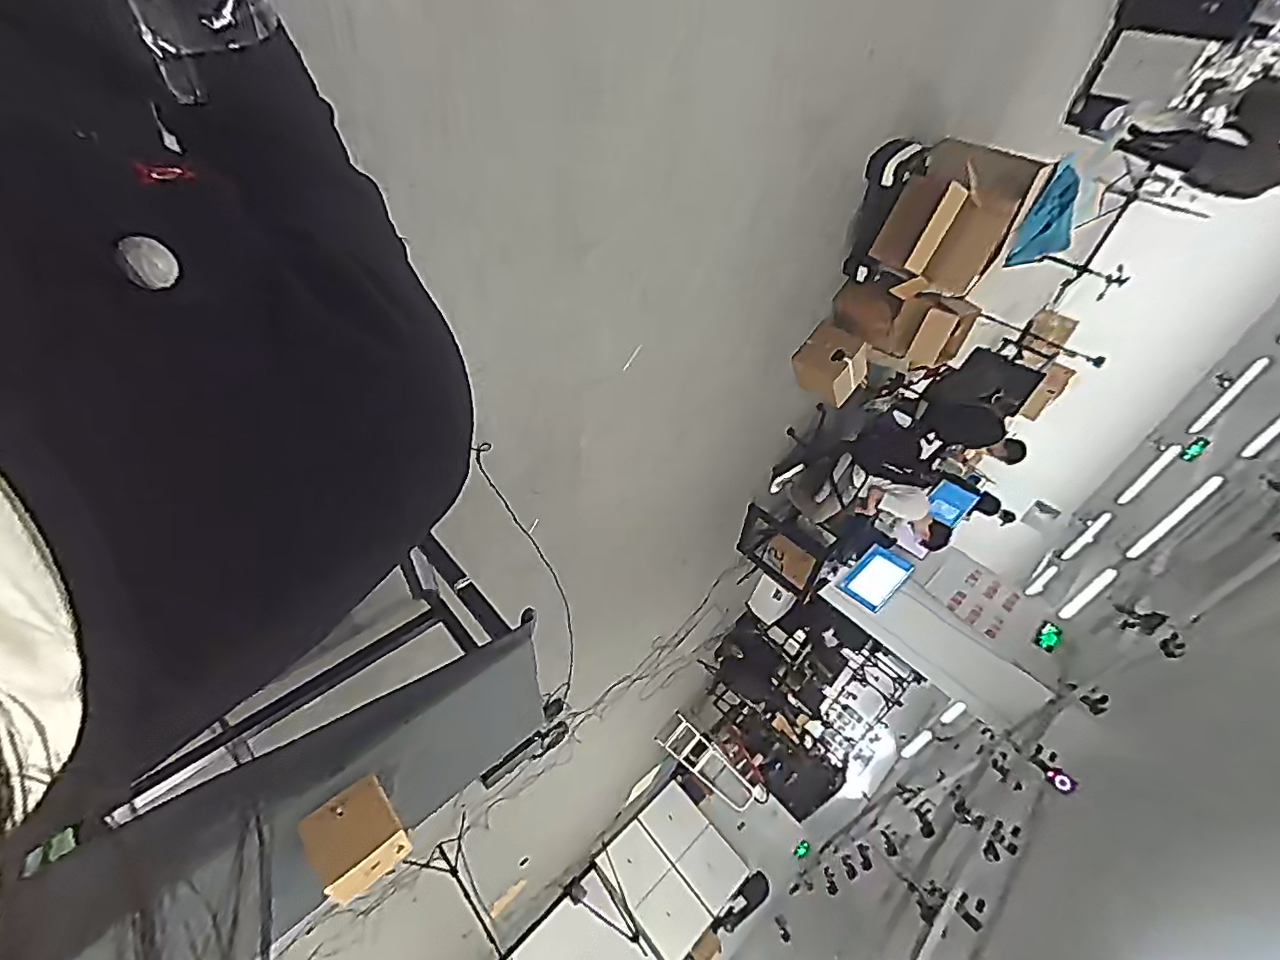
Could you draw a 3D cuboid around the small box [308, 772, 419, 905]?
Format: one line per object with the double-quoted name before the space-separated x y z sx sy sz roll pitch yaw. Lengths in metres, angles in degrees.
"small box" -0.657 0.843 1.280 0.179 0.176 0.168 -29 145 -34
